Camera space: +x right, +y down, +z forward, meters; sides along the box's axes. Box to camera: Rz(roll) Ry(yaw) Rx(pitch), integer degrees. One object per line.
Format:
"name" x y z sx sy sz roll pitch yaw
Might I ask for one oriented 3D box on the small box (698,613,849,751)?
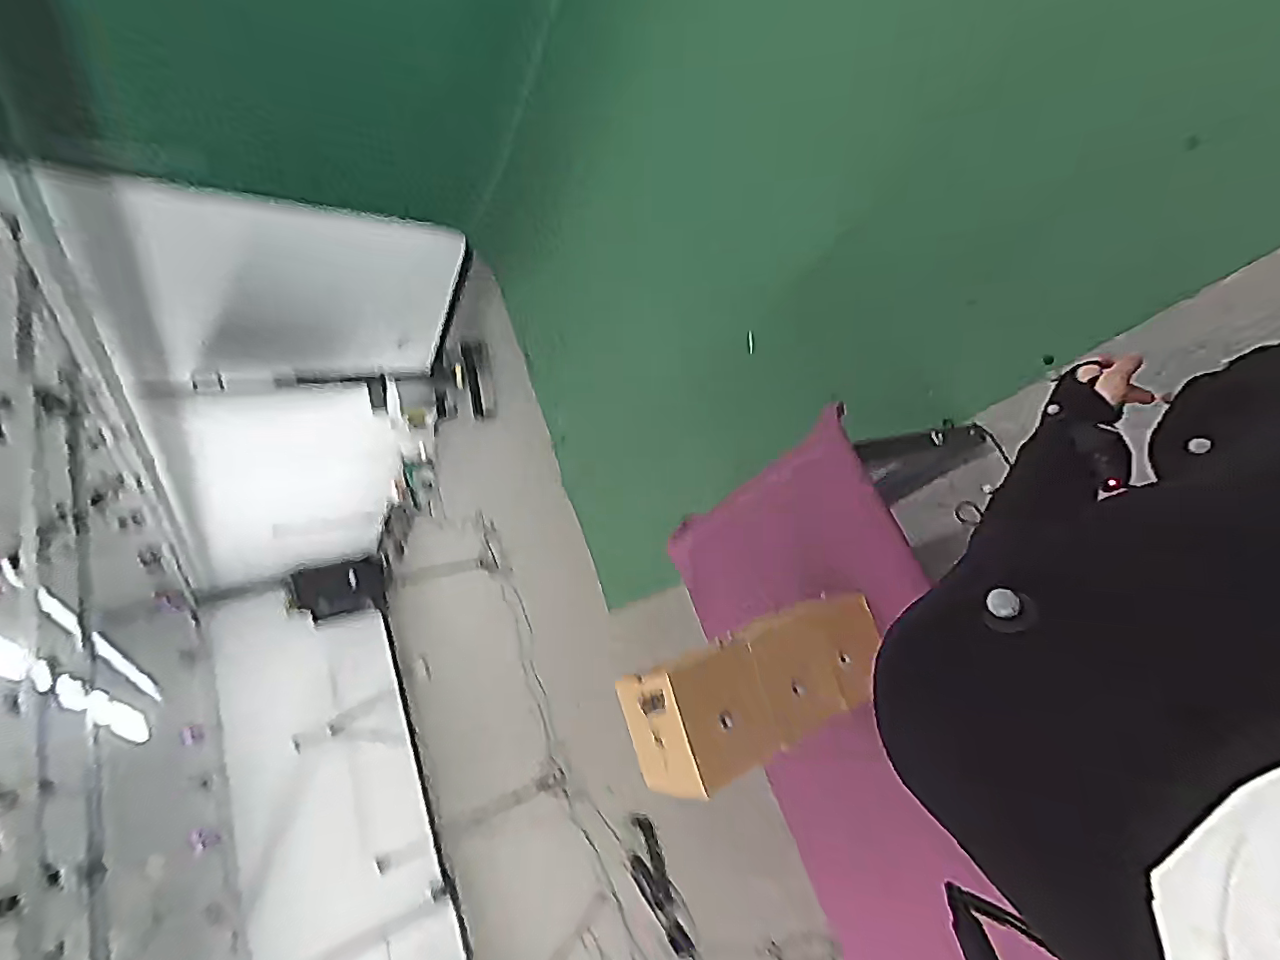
"small box" 0.240 0.358 0.968 0.168 0.176 0.179 -35 71 51

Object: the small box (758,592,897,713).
"small box" 0.370 0.335 1.064 0.168 0.176 0.179 -30 74 53

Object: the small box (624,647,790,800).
"small box" 0.106 0.381 0.875 0.168 0.176 0.179 -37 70 51
